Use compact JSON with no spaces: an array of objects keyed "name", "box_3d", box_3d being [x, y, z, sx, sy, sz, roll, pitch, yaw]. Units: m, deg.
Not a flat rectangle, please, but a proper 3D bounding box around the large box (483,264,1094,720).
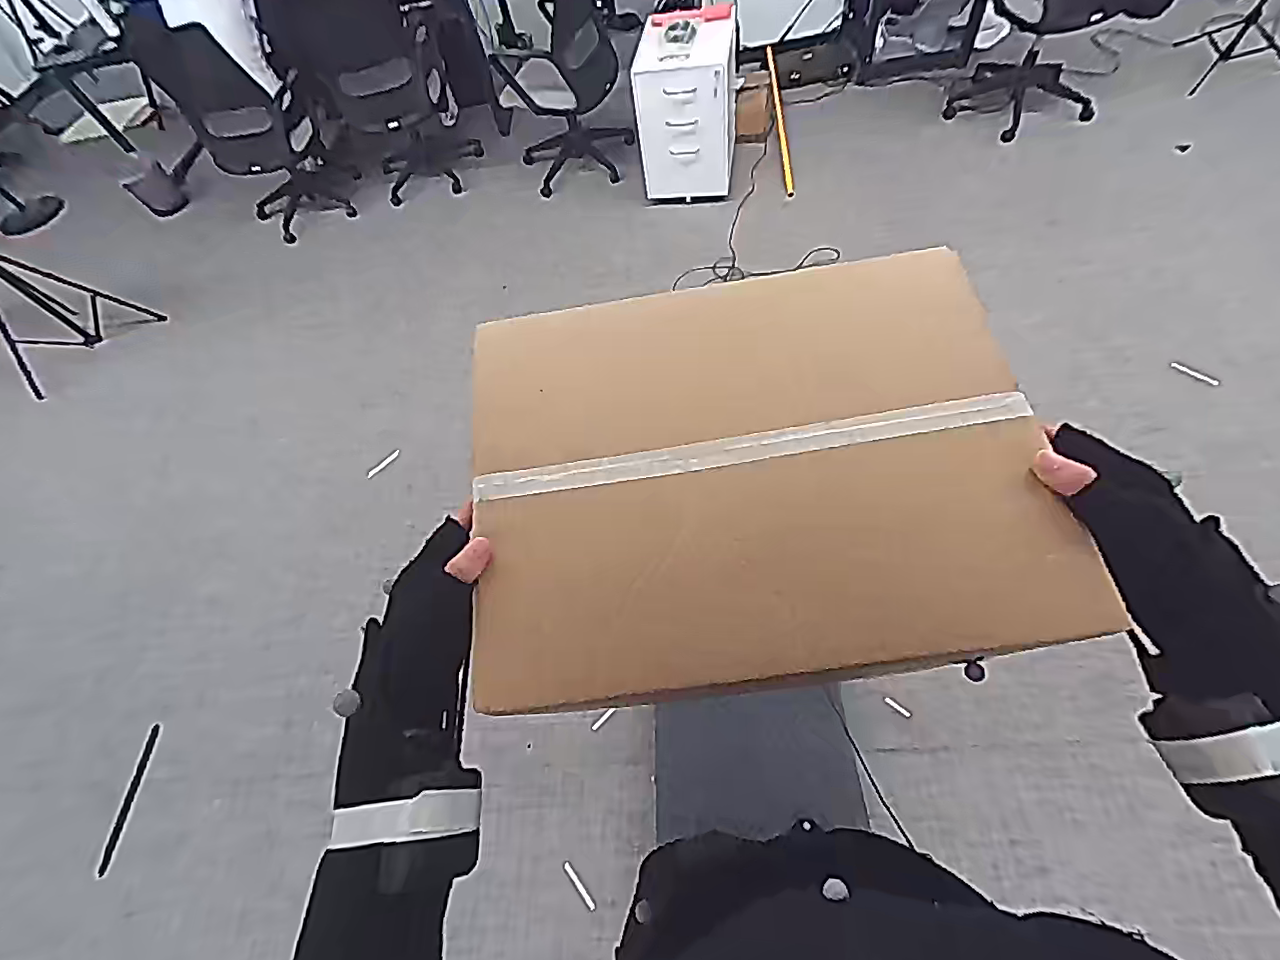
[{"name":"large box","box_3d":[0.094,0.044,0.545,0.408,0.320,0.320,-9,66,3]}]
